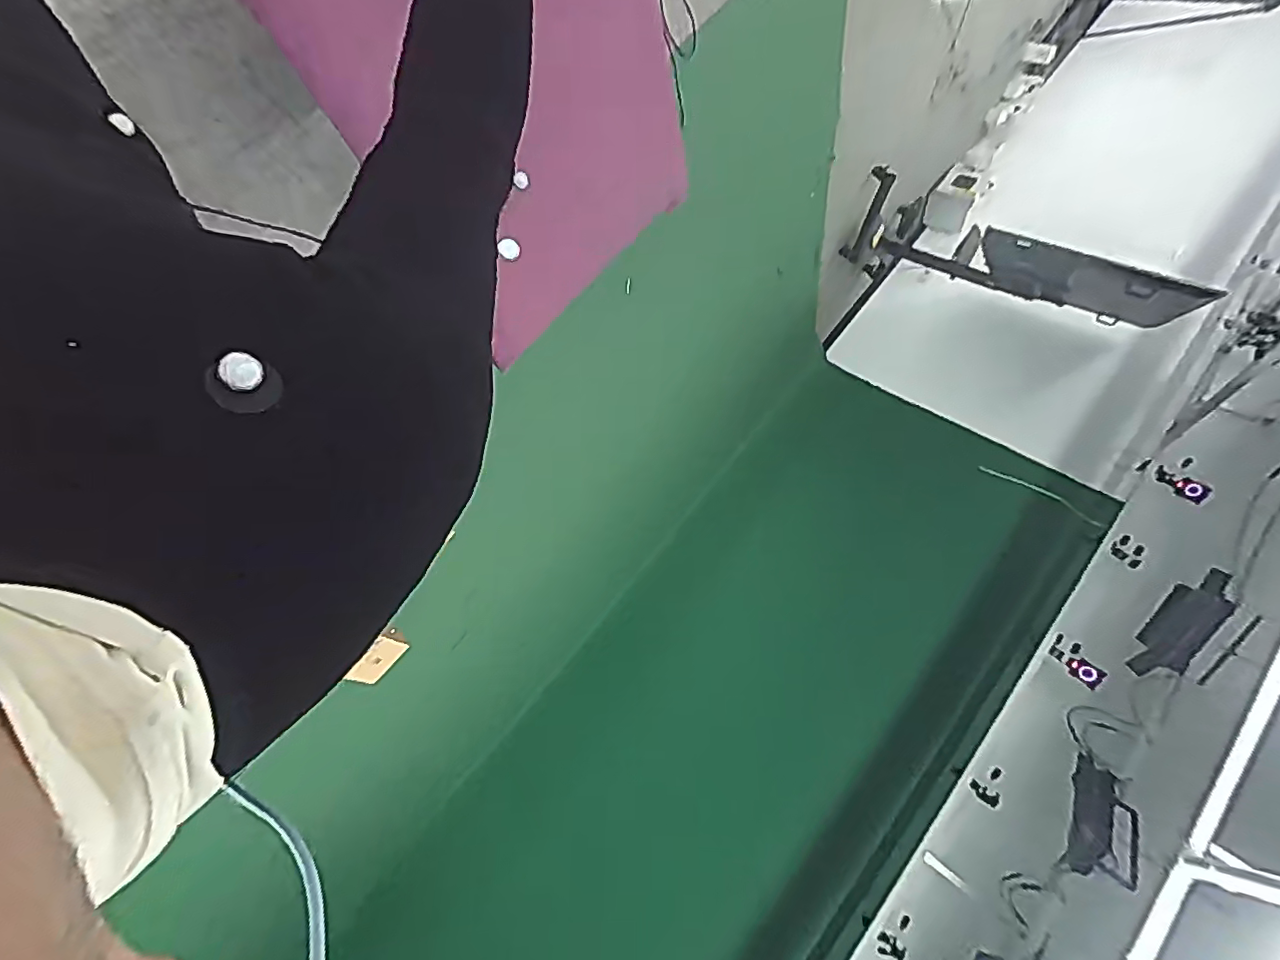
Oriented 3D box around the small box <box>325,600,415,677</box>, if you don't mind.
[{"bbox_3d":[-0.911,0.532,1.824,0.168,0.176,0.179,-49,152,-13],"label":"small box"}]
